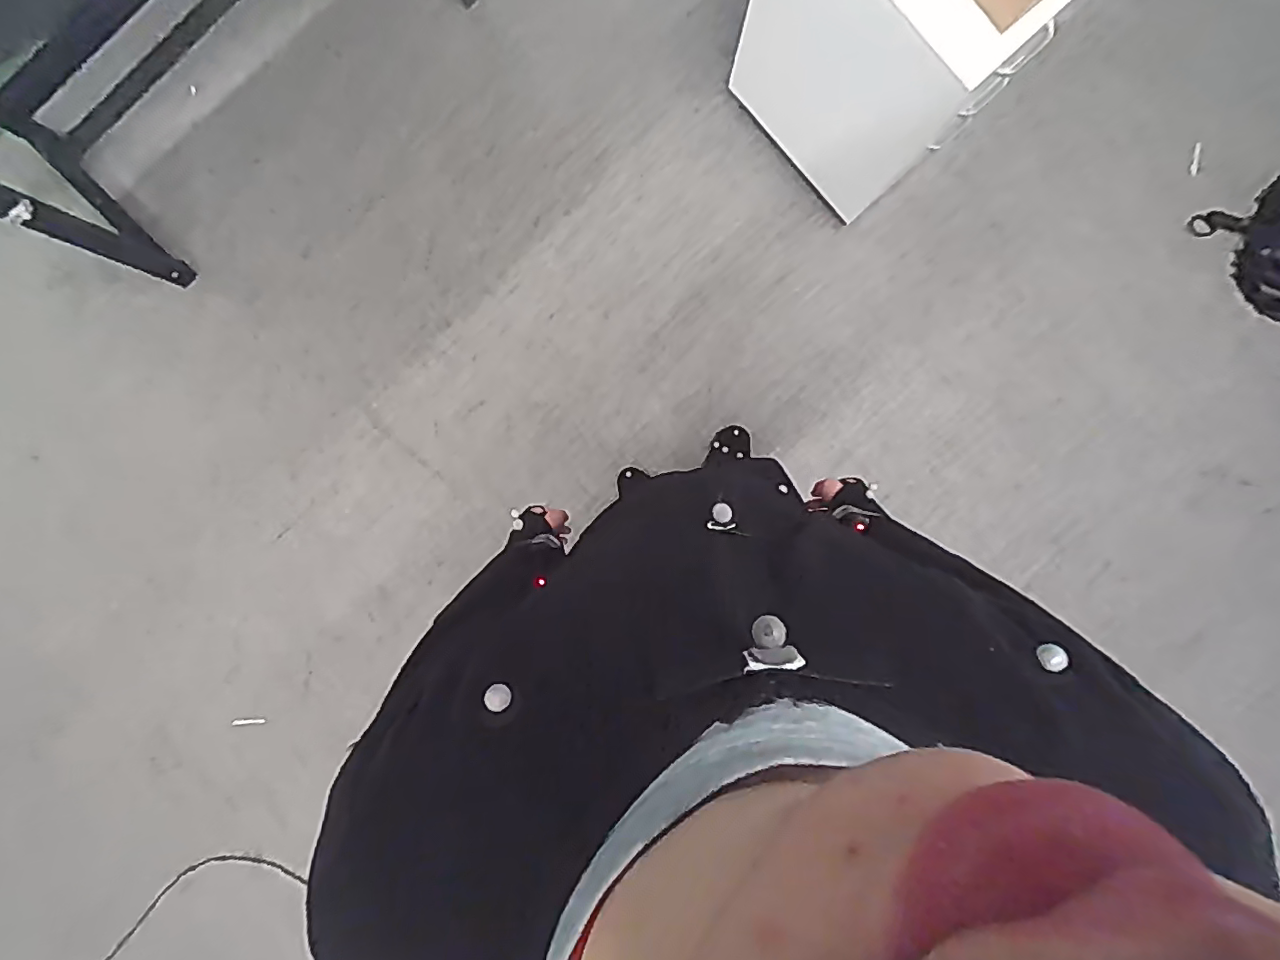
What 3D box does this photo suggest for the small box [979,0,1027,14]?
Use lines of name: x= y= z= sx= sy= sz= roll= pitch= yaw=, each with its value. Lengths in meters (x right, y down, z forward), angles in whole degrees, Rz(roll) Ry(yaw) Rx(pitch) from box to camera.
small box: x=0.636 y=-0.905 z=0.861 sx=0.168 sy=0.176 sz=0.179 roll=-41 pitch=94 yaw=1
